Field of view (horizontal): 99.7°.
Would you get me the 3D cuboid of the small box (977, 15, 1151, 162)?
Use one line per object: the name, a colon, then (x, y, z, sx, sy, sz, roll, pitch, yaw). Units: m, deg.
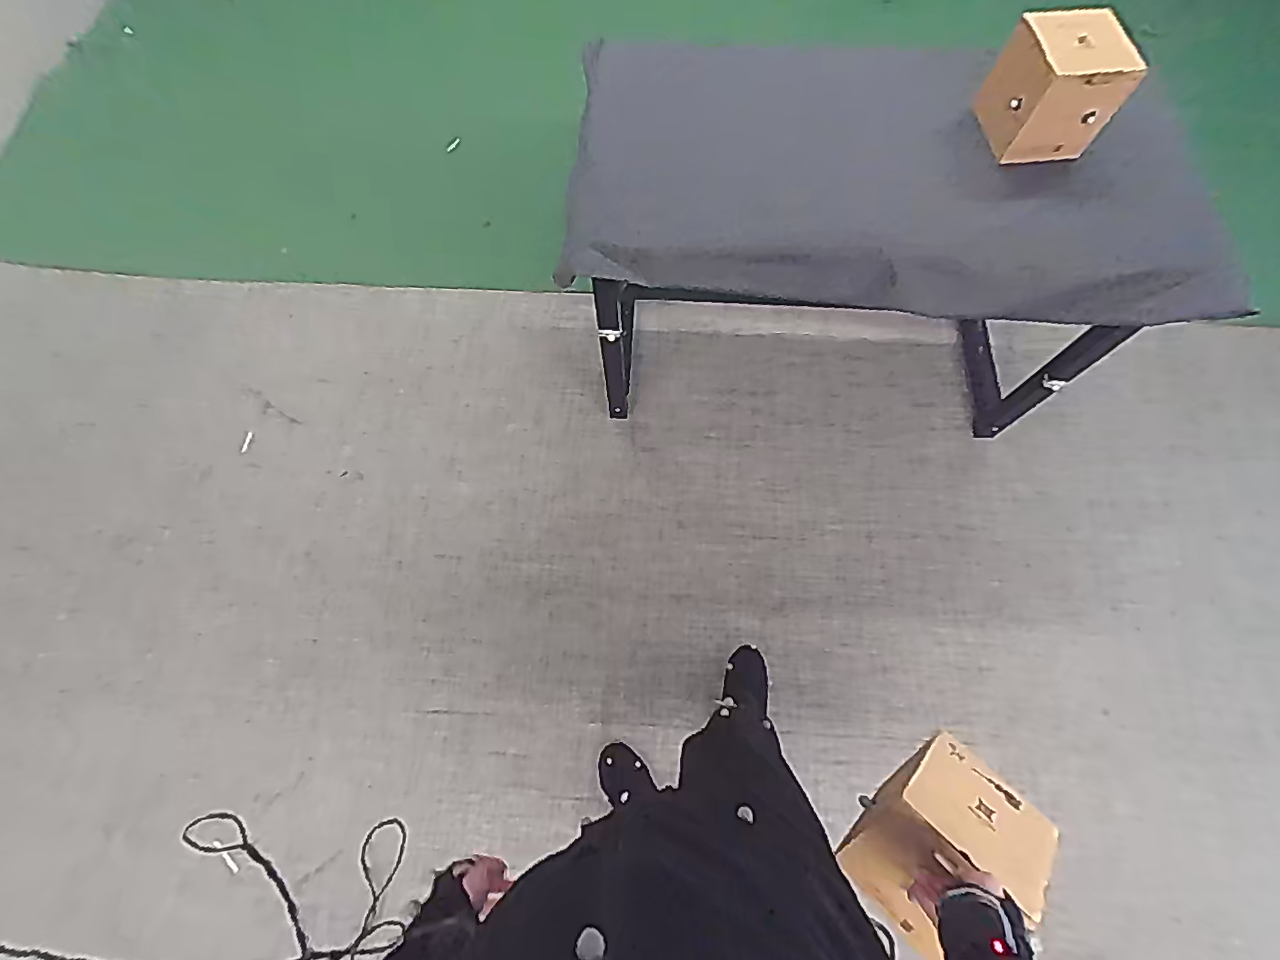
small box: (0.788, -0.733, 1.028, 0.168, 0.176, 0.179, -4, 67, -3)

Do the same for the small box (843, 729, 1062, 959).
small box: (0.396, 0.475, 0.706, 0.179, 0.176, 0.168, -11, 44, -45)
